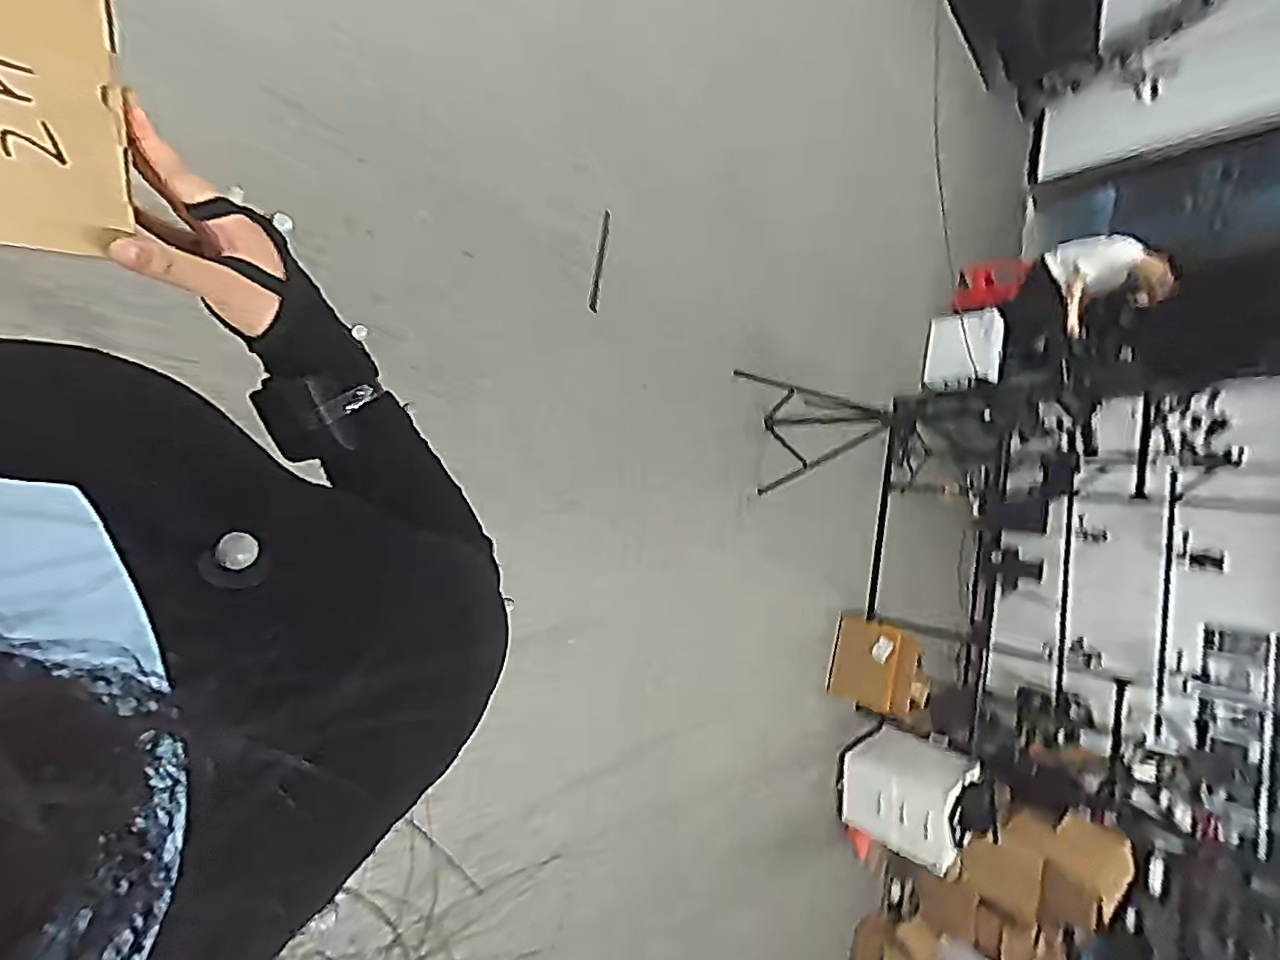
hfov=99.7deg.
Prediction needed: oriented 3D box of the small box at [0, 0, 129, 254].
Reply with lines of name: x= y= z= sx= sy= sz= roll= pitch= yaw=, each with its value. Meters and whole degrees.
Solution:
small box: x=-0.393 y=-0.222 z=0.278 sx=0.179 sy=0.176 sz=0.168 roll=-8 pitch=116 yaw=-44
